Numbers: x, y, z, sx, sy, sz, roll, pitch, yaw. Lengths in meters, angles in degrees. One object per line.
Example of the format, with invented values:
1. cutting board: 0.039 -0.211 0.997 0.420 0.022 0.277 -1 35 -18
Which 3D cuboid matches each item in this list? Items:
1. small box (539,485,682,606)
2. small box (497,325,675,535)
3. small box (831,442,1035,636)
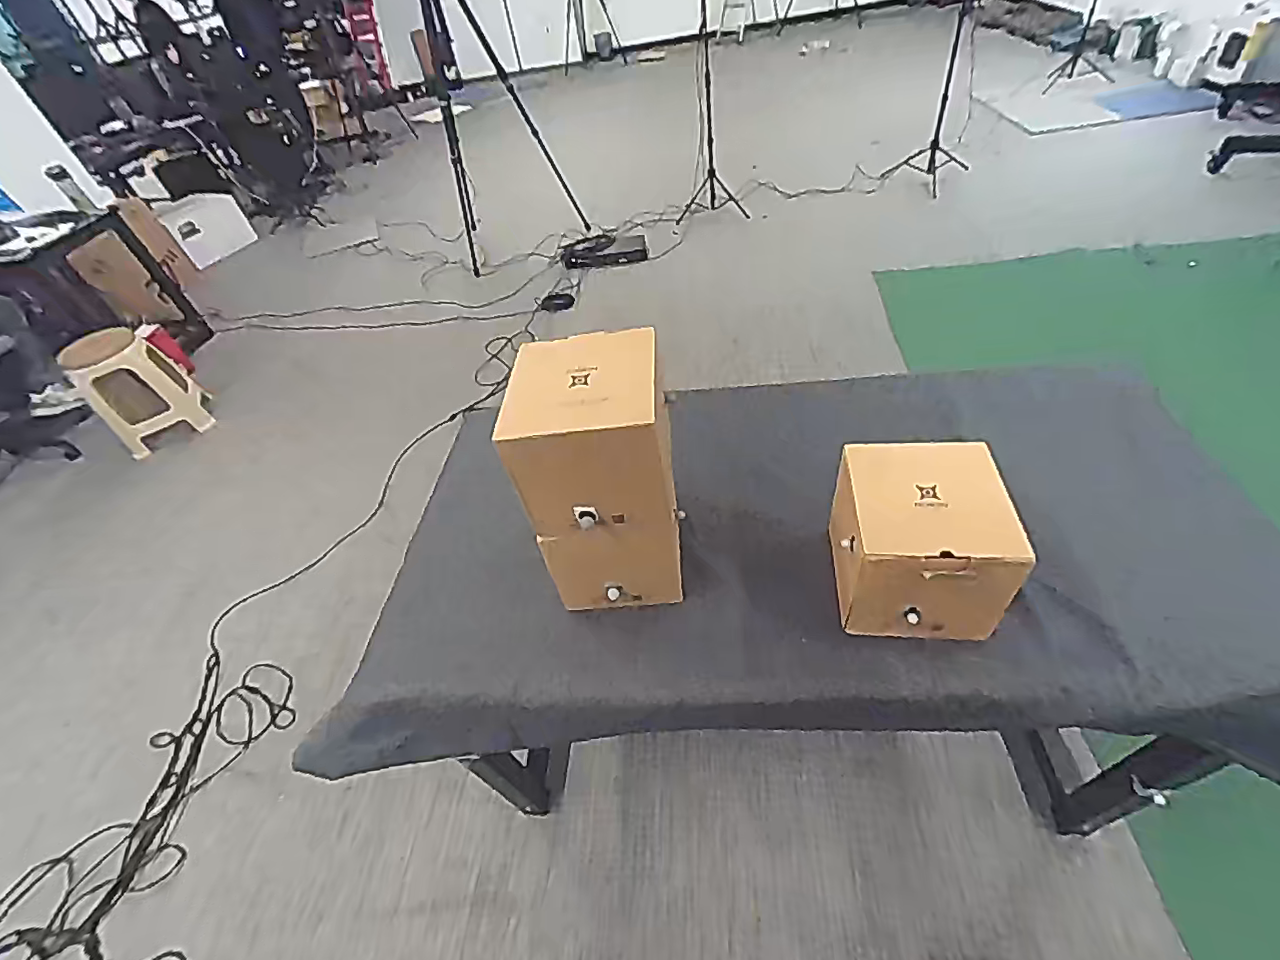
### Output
1. small box: -0.031 0.055 0.757 0.168 0.176 0.179 -6 46 6
2. small box: -0.049 -0.057 0.640 0.168 0.176 0.179 -6 47 7
3. small box: 0.339 0.071 0.671 0.168 0.176 0.179 0 47 11
